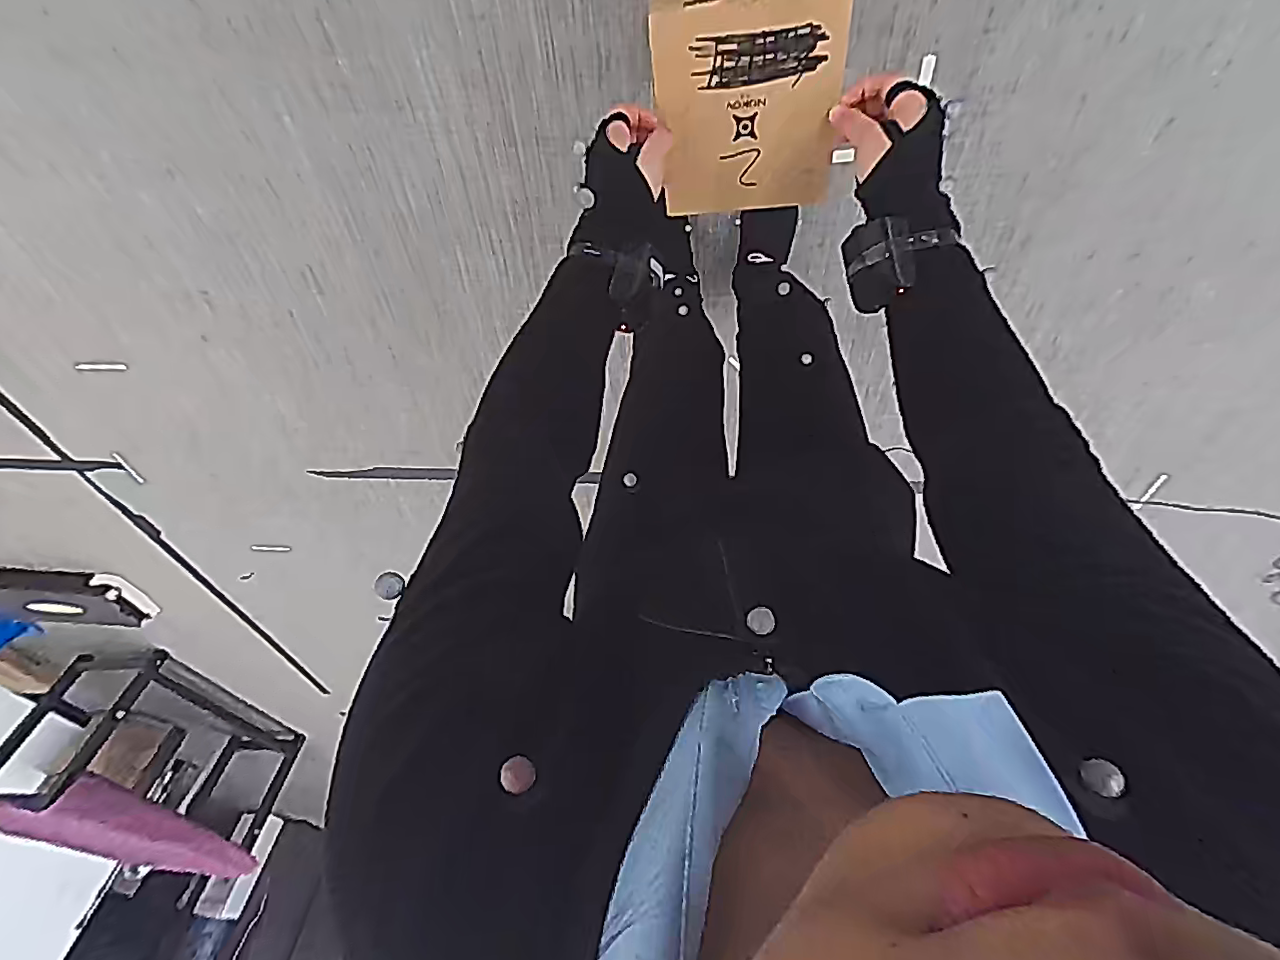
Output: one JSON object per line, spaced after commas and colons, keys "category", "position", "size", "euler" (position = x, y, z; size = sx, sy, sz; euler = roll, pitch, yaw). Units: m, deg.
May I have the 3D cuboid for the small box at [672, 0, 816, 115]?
{"category": "small box", "position": [0.125, -0.588, 0.690], "size": [0.168, 0.176, 0.179], "euler": [1, 135, 5]}
